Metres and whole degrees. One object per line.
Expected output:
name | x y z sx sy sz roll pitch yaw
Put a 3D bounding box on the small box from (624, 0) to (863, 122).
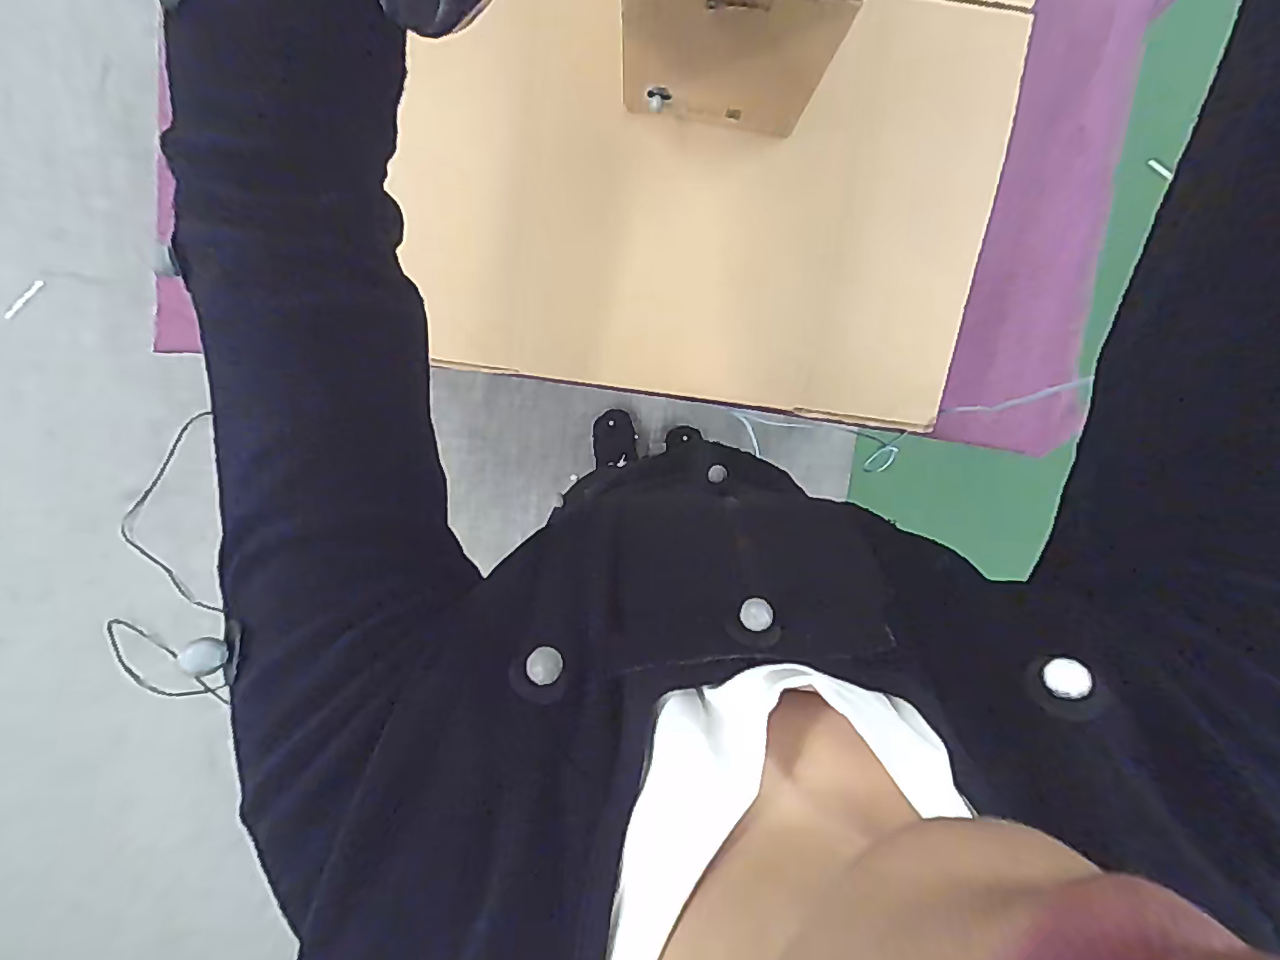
small box | 0.078 -0.419 0.426 0.168 0.176 0.179 5 98 -2
